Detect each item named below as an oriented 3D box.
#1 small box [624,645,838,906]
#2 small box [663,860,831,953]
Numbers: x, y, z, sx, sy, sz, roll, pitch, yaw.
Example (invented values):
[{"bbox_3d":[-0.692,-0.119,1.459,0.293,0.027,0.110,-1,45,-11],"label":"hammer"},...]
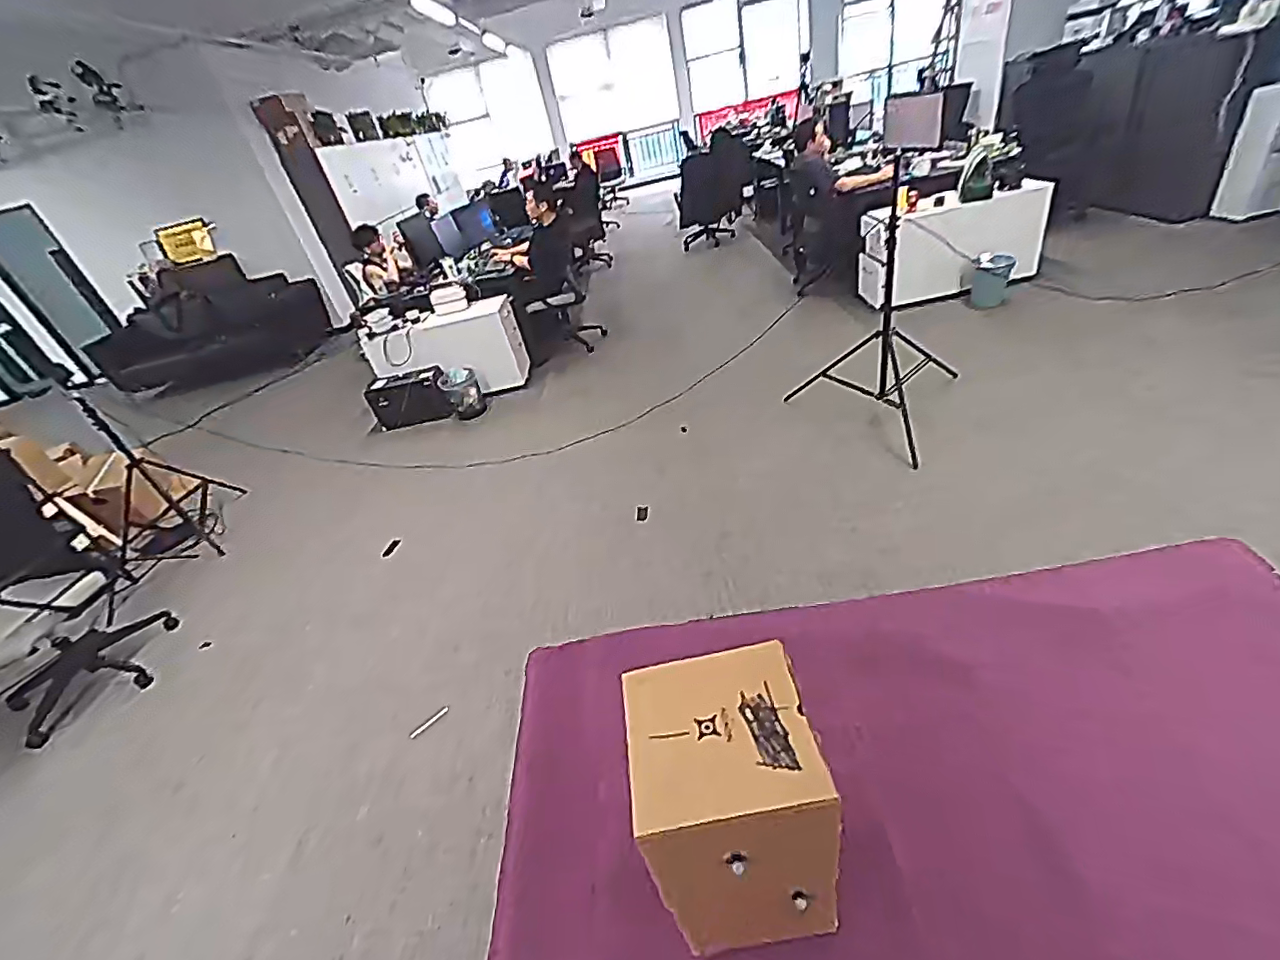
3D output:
[{"bbox_3d":[0.089,0.304,0.560,0.179,0.176,0.168,-13,33,2],"label":"small box"},{"bbox_3d":[0.120,0.435,0.655,0.179,0.176,0.168,-12,34,2],"label":"small box"}]
